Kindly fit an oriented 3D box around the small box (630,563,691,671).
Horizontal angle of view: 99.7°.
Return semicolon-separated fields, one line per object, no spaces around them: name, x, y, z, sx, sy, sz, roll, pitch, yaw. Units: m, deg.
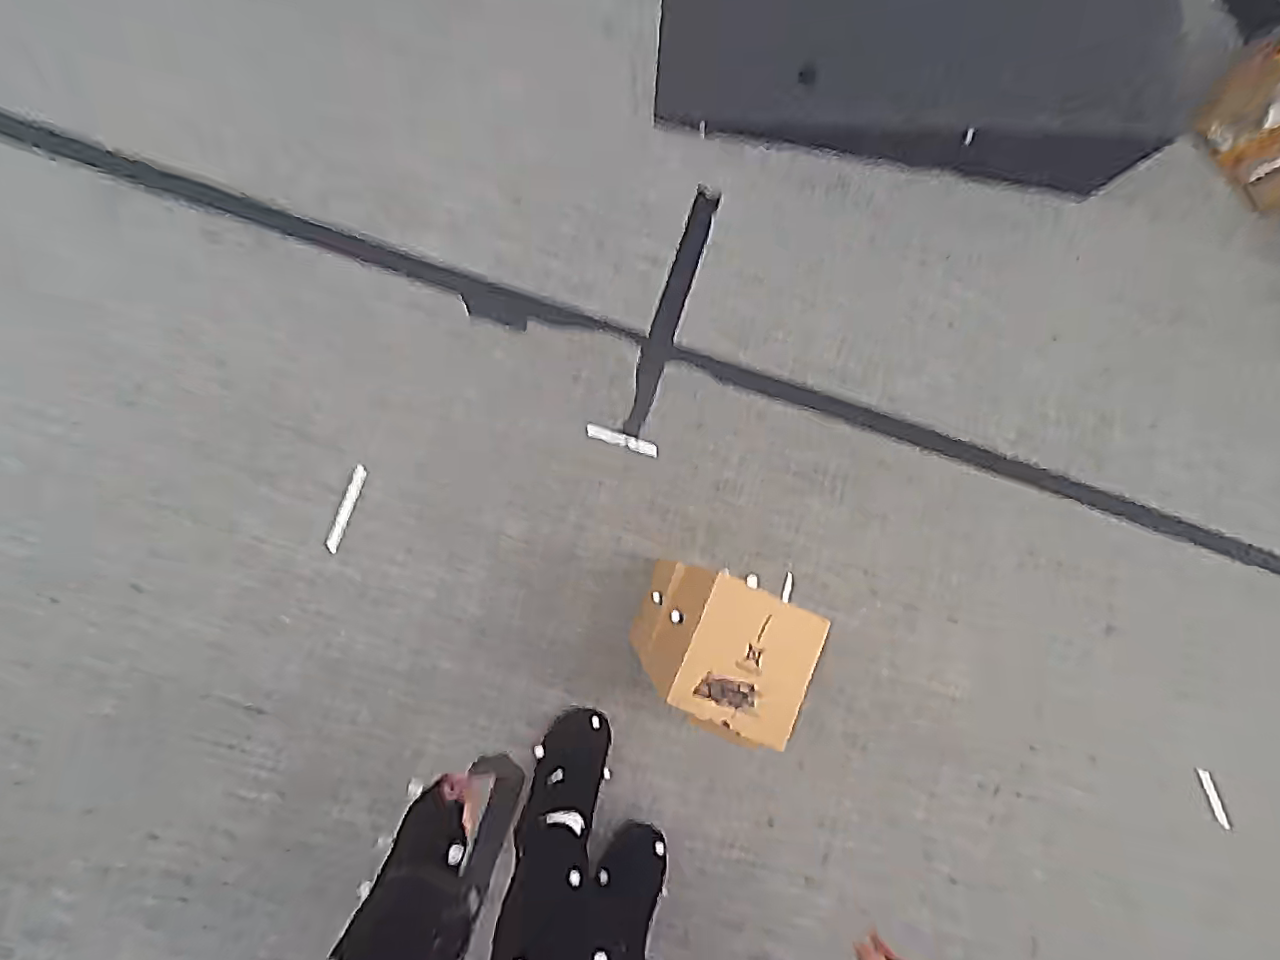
small box;0.099;0.245;0.913;0.179;0.176;0.168;21;82;-7

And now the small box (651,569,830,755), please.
small box;0.125;0.237;0.750;0.168;0.176;0.179;26;81;-6
